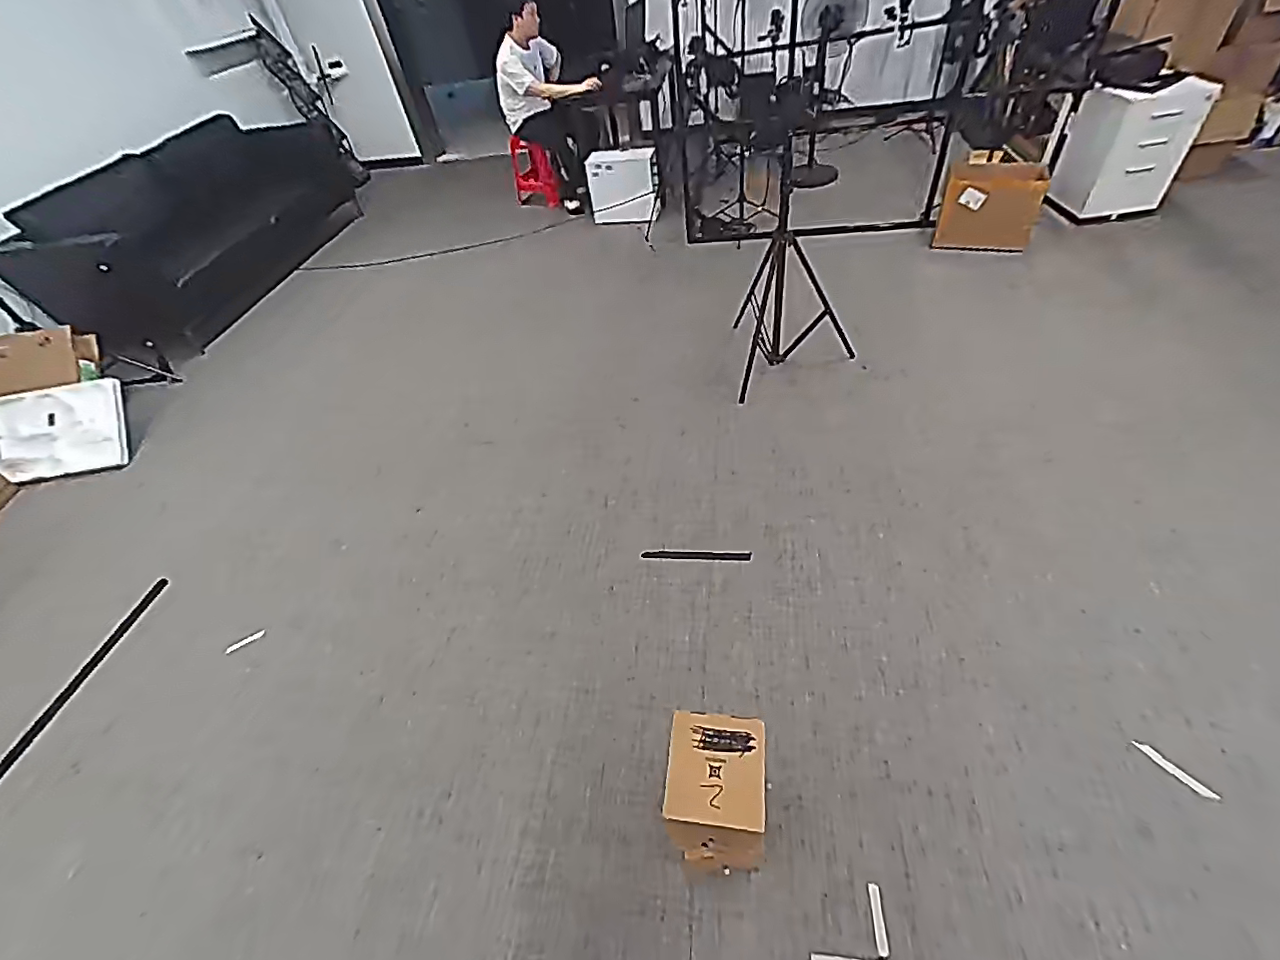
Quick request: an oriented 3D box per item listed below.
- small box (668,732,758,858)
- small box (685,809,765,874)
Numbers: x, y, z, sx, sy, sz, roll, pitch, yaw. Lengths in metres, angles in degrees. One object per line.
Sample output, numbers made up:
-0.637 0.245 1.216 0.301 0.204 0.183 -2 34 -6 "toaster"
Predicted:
0.152 0.642 1.104 0.168 0.176 0.179 1 47 11 "small box"
0.178 0.759 1.214 0.168 0.176 0.179 -8 46 3 "small box"
